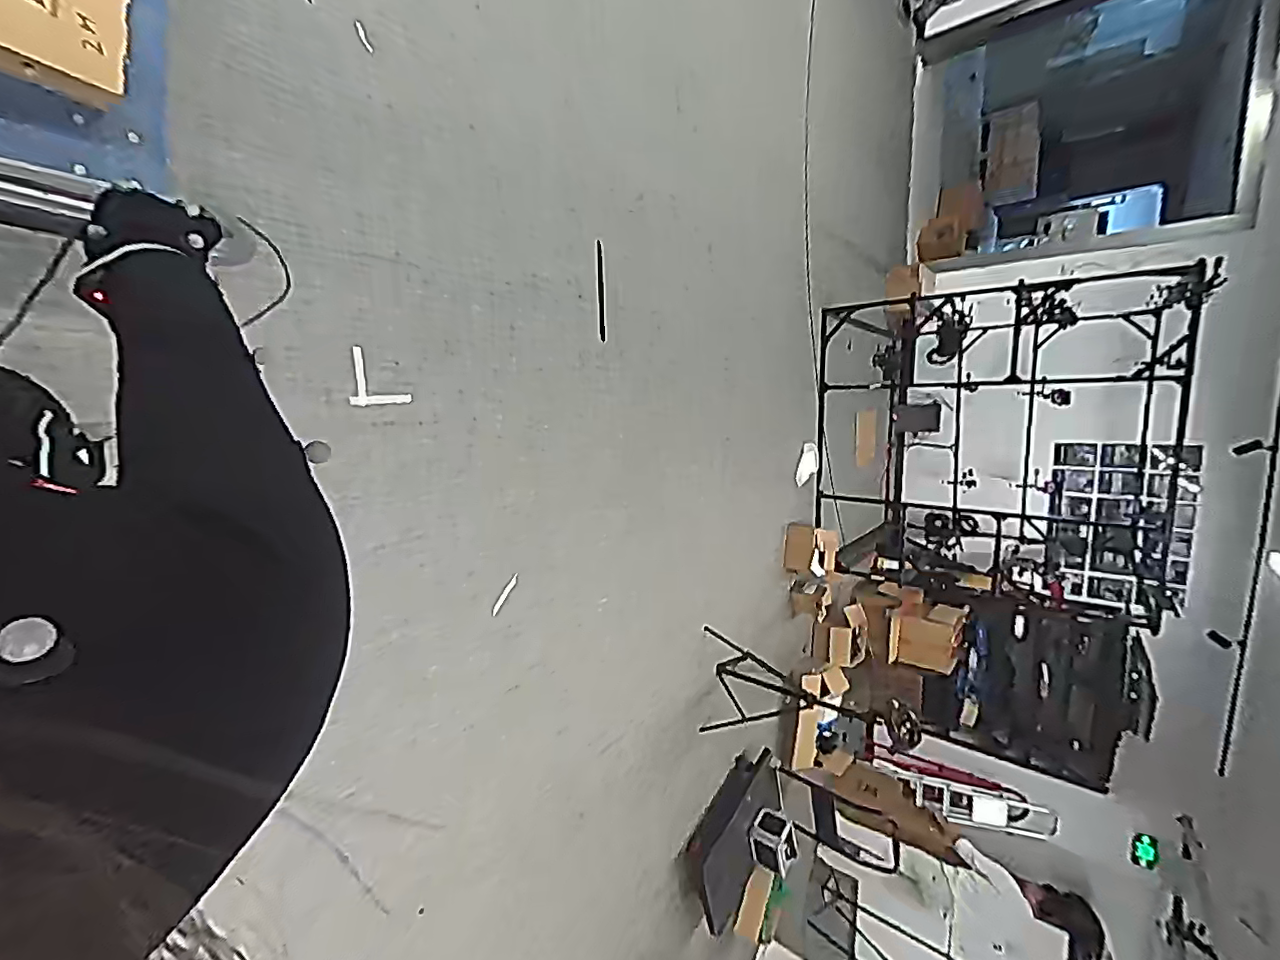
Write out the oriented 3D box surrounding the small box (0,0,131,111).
[{"bbox_3d":[-0.900,-0.686,0.808,0.179,0.176,0.168,1,104,-52],"label":"small box"}]
